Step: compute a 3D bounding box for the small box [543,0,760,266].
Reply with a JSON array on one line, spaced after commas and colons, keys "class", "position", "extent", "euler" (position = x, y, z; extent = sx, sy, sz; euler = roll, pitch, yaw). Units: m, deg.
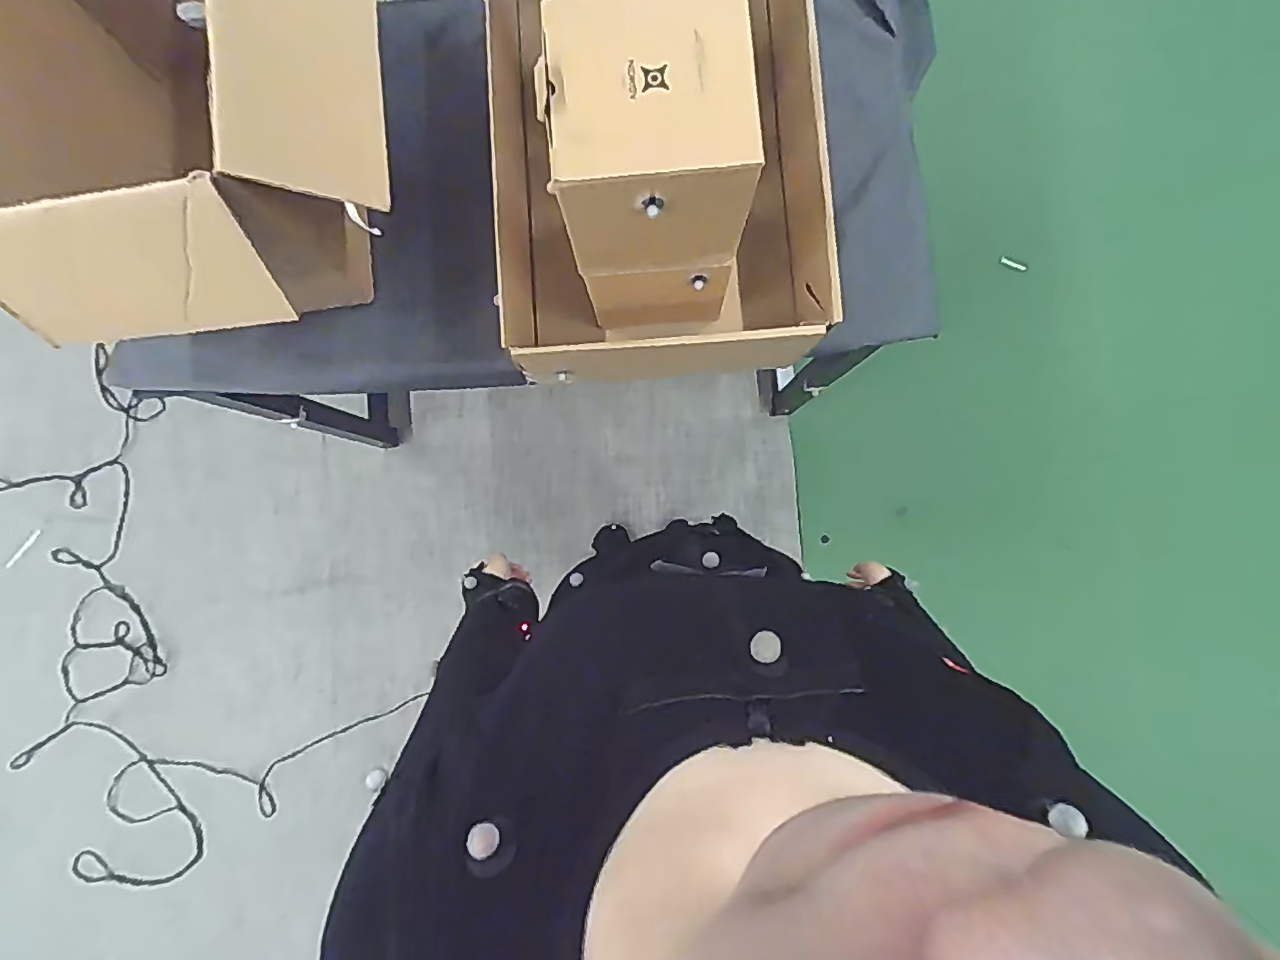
[{"class": "small box", "position": [0.010, -0.328, 0.534], "extent": [0.179, 0.176, 0.168], "euler": [-4, 87, 0]}]
